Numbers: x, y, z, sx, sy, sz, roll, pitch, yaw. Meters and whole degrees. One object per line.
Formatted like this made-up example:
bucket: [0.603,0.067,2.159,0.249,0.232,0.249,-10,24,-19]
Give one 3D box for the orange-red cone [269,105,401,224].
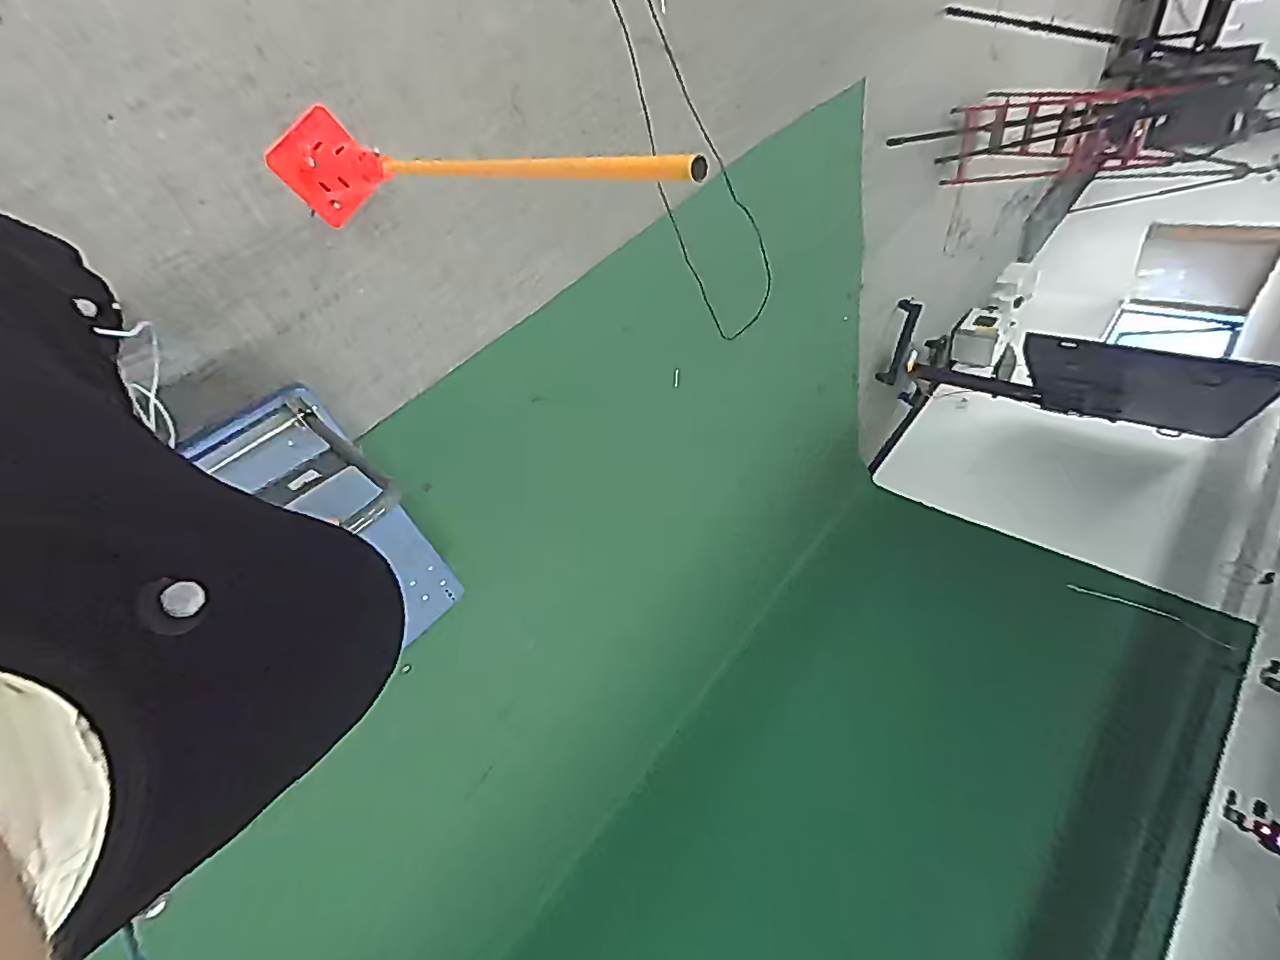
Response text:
orange-red cone: [-0.632,-0.703,1.208,0.199,0.360,0.198,-56,142,-12]
